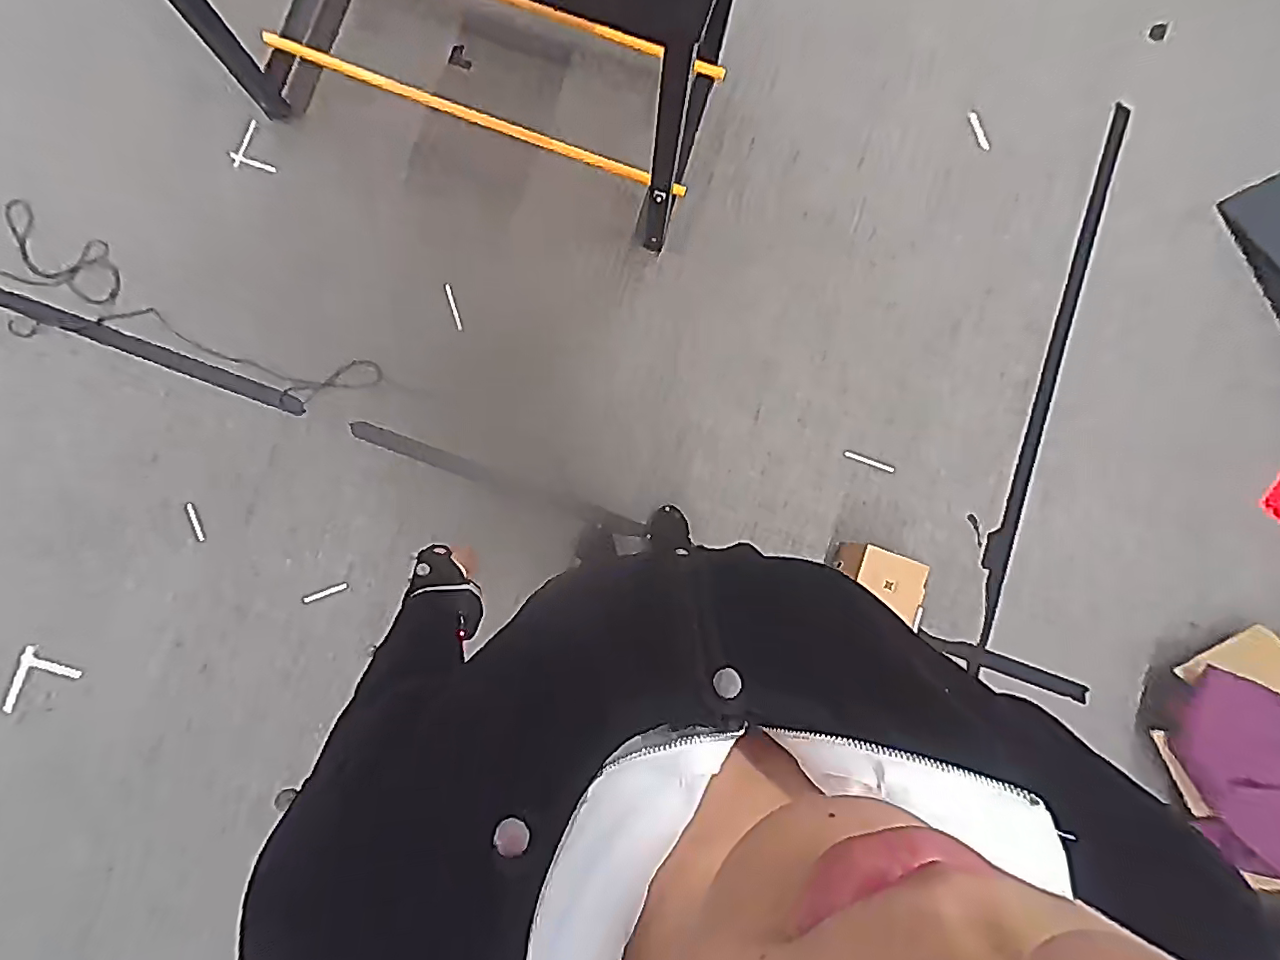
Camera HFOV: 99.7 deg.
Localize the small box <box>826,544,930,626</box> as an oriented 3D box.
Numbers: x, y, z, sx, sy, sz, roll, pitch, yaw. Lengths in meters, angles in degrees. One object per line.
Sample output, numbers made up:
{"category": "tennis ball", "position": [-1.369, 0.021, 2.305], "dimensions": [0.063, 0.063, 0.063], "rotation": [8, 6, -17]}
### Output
{"category": "small box", "position": [0.633, 0.272, 1.452], "dimensions": [0.179, 0.176, 0.168], "rotation": [19, 84, 0]}
